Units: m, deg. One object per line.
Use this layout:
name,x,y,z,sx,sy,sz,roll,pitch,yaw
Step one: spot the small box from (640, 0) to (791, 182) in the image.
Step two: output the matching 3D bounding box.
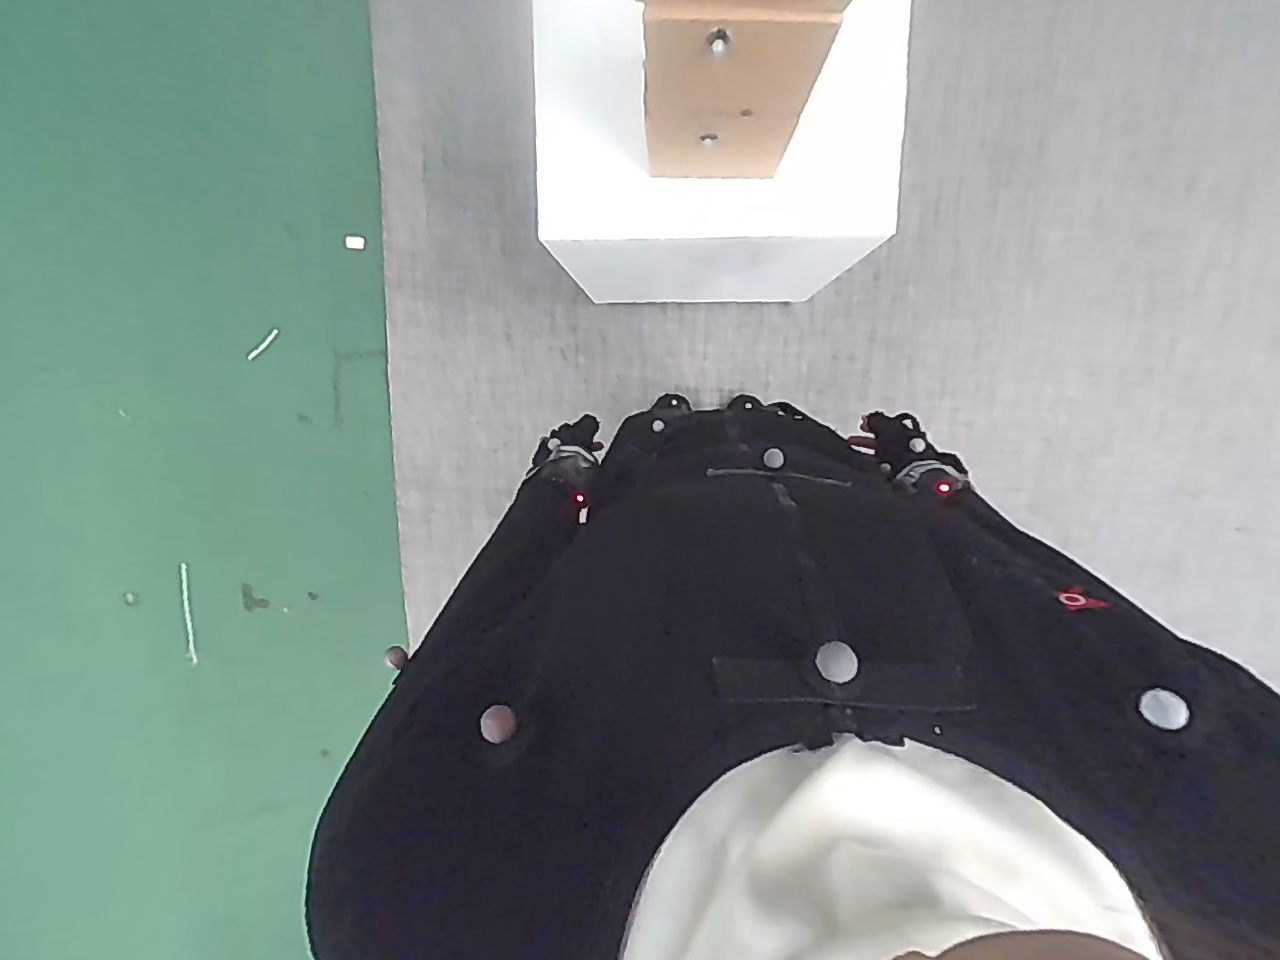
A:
small box,0.096,-0.492,0.677,0.179,0.176,0.168,3,98,3

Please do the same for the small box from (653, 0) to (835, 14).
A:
small box,0.080,-0.452,0.354,0.179,0.176,0.168,5,101,2

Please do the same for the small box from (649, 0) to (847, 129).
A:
small box,0.093,-0.472,0.517,0.168,0.176,0.179,1,99,2
